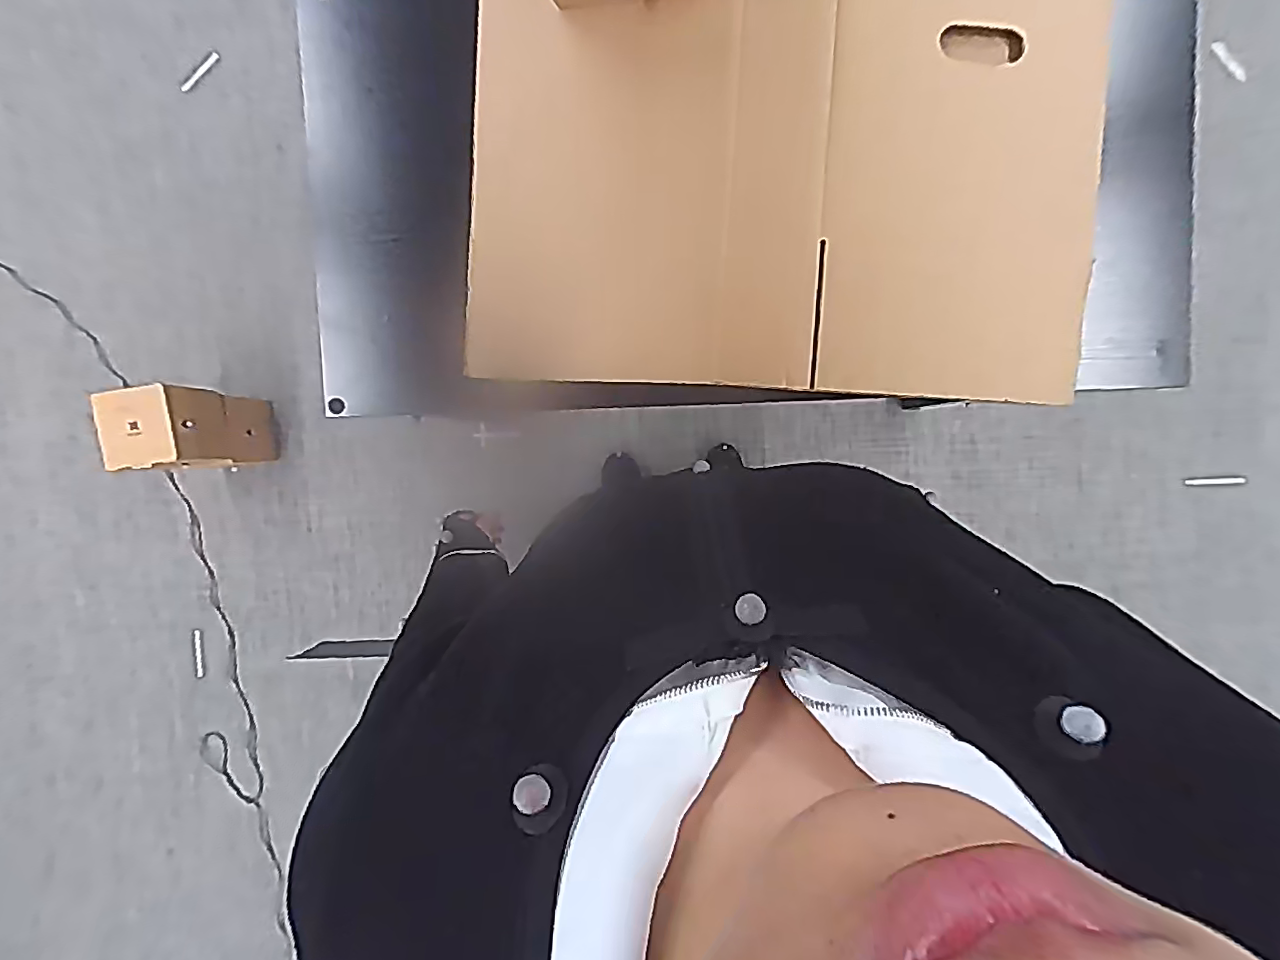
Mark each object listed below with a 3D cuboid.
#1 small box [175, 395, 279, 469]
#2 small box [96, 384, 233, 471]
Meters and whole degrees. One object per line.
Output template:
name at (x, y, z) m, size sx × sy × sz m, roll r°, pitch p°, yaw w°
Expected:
small box at (-1.104, -0.125, 1.440) m, size 0.168 × 0.176 × 0.179 m, roll -6°, pitch 94°, yaw 2°
small box at (-1.108, -0.122, 1.277) m, size 0.168 × 0.176 × 0.179 m, roll -9°, pitch 92°, yaw 1°
